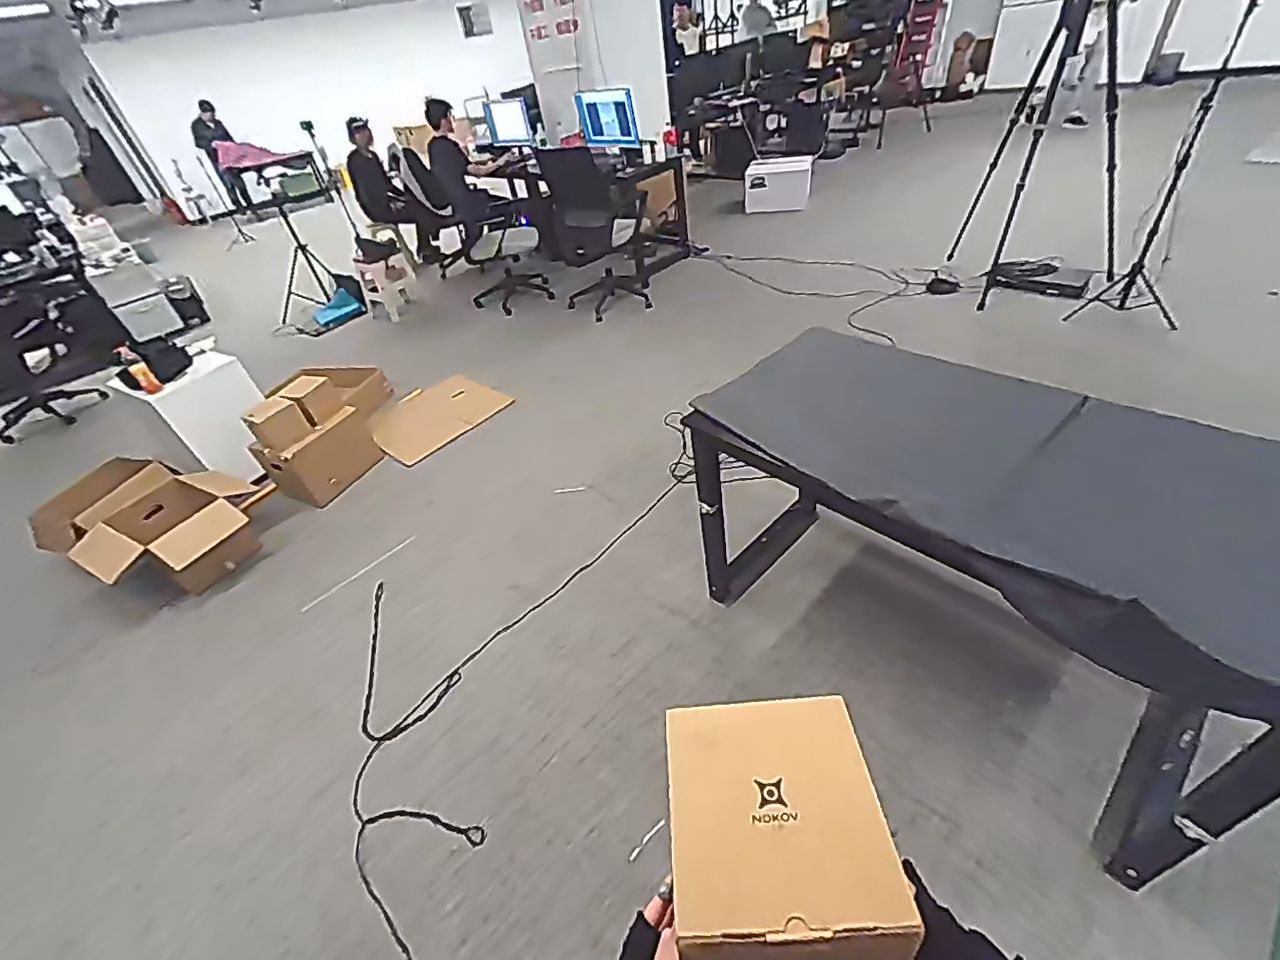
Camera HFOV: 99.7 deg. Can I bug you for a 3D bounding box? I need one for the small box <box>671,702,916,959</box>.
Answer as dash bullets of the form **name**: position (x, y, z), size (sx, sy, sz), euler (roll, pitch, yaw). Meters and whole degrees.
- **small box**: position (0.117, 0.330, 0.486), size (0.168, 0.176, 0.179), euler (-6, 34, 4)
